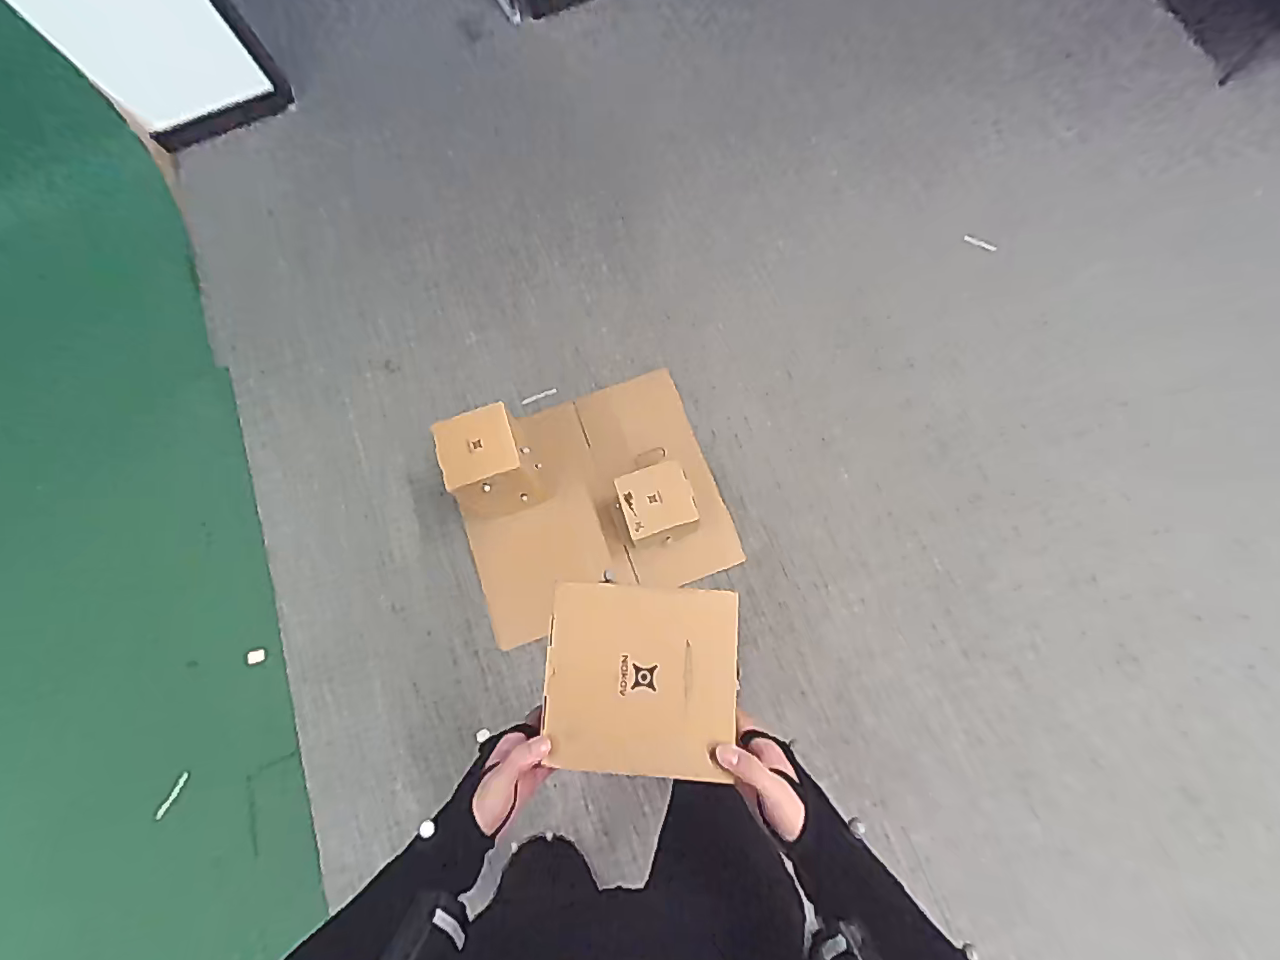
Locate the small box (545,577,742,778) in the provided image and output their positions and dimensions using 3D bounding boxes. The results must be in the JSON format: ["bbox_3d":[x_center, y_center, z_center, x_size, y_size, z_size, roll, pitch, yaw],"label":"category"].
[{"bbox_3d":[0.011,0.192,0.570,0.179,0.176,0.168,2,80,5],"label":"small box"}]

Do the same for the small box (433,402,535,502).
[{"bbox_3d":[-0.359,-0.060,1.282,0.179,0.176,0.168,-19,76,-1],"label":"small box"}]

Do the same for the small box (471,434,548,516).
[{"bbox_3d":[-0.355,-0.017,1.438,0.179,0.176,0.168,-19,75,-1],"label":"small box"}]

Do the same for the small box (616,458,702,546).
[{"bbox_3d":[0.049,0.063,1.394,0.179,0.176,0.168,-17,75,-1],"label":"small box"}]
